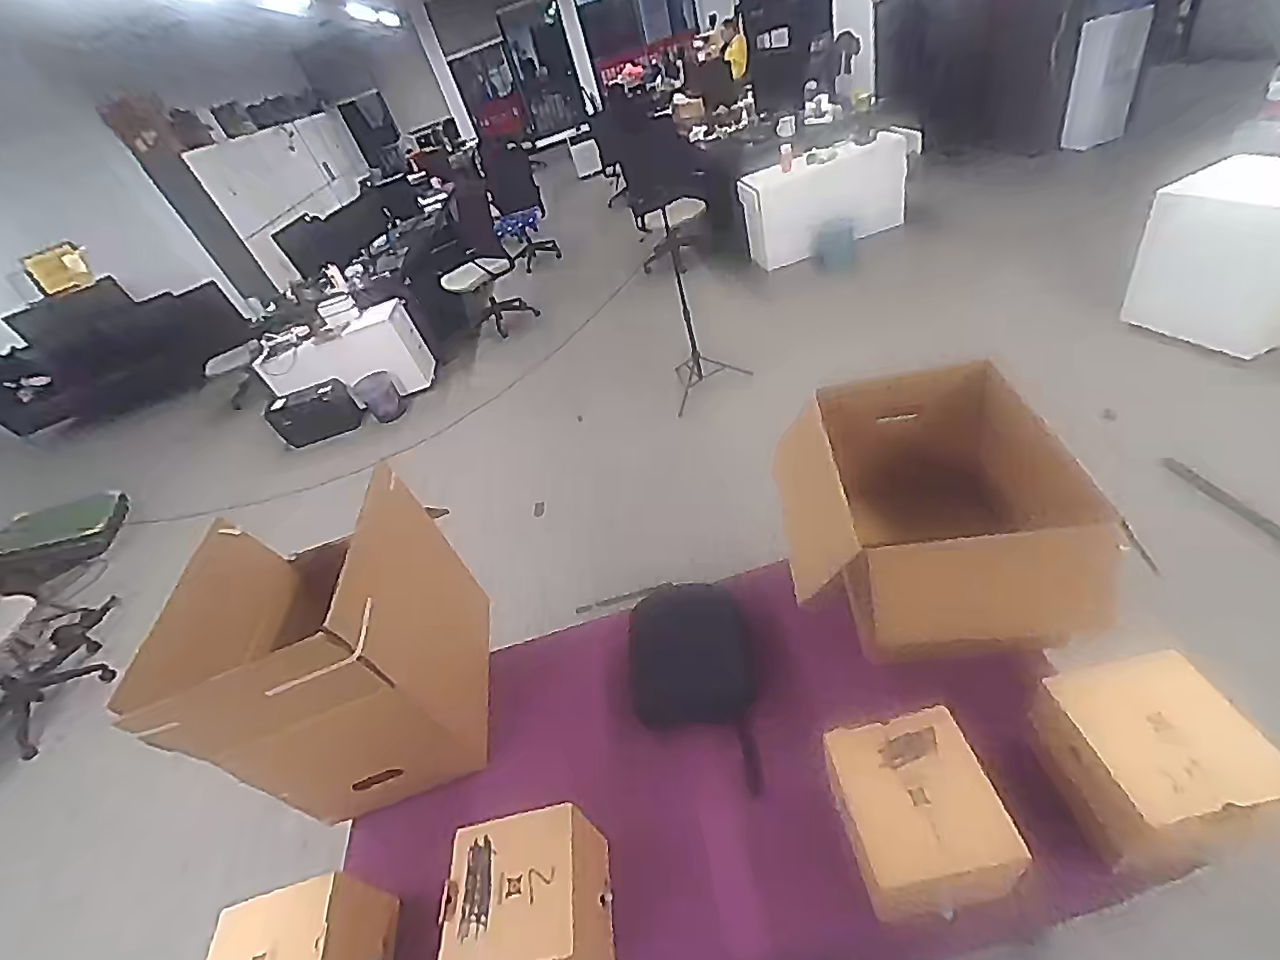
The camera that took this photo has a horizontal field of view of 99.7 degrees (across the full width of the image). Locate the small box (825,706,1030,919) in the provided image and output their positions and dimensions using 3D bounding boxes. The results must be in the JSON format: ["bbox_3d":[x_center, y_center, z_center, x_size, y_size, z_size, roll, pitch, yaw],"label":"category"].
[{"bbox_3d":[0.352,0.428,0.699,0.168,0.176,0.179,-17,40,6],"label":"small box"}]

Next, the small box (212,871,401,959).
[{"bbox_3d":[-0.470,0.692,0.758,0.179,0.176,0.168,-19,39,0],"label":"small box"}]

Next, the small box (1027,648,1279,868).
[{"bbox_3d":[0.623,0.344,0.672,0.168,0.176,0.179,-17,39,6],"label":"small box"}]
